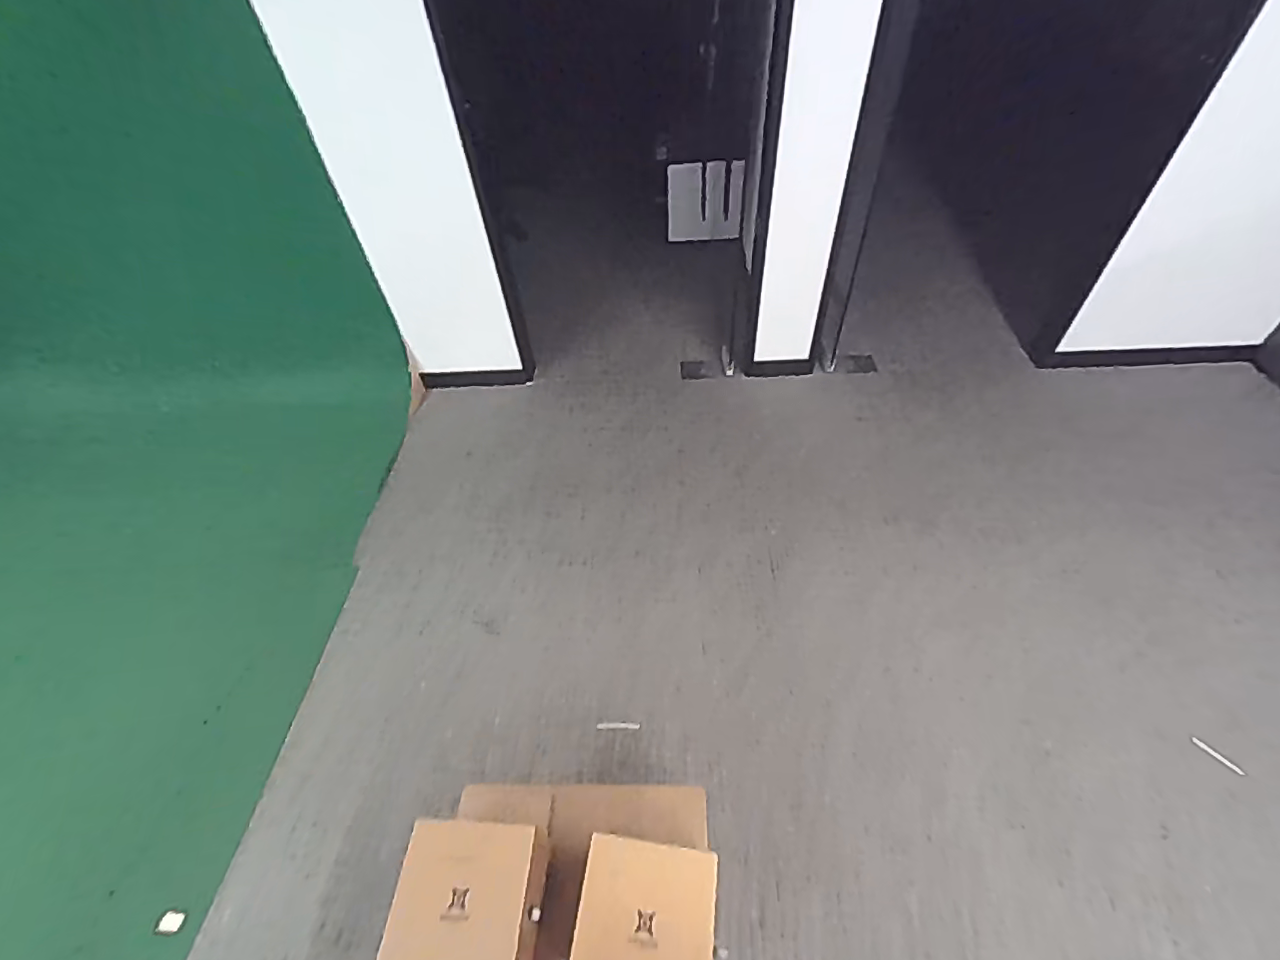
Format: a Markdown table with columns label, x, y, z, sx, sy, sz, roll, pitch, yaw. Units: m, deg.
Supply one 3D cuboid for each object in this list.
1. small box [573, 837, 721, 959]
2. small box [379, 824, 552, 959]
| label | x | y | z | sx | sy | sz | roll | pitch | yaw |
| --- | --- | --- | --- | --- | --- | --- | --- | --- | --- |
| small box | 0.013 | 0.587 | 0.695 | 0.168 | 0.176 | 0.179 | 3 | 49 | 9 |
| small box | -0.219 | 0.580 | 0.722 | 0.168 | 0.176 | 0.179 | 1 | 49 | 3 |
